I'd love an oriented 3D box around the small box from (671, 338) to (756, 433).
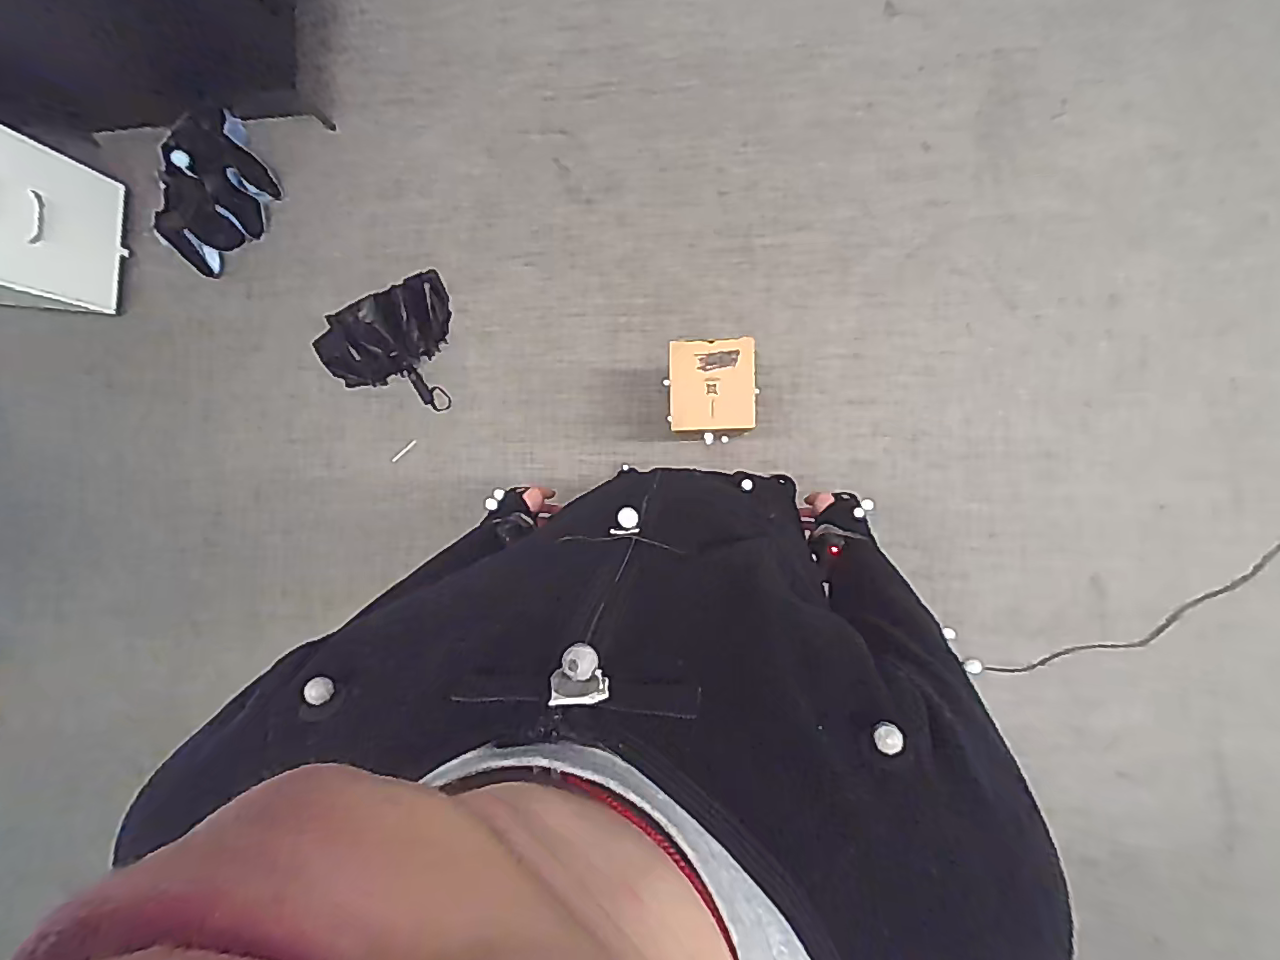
[{"bbox_3d":[0.148,-0.188,1.122,0.168,0.176,0.179,-1,95,6],"label":"small box"}]
